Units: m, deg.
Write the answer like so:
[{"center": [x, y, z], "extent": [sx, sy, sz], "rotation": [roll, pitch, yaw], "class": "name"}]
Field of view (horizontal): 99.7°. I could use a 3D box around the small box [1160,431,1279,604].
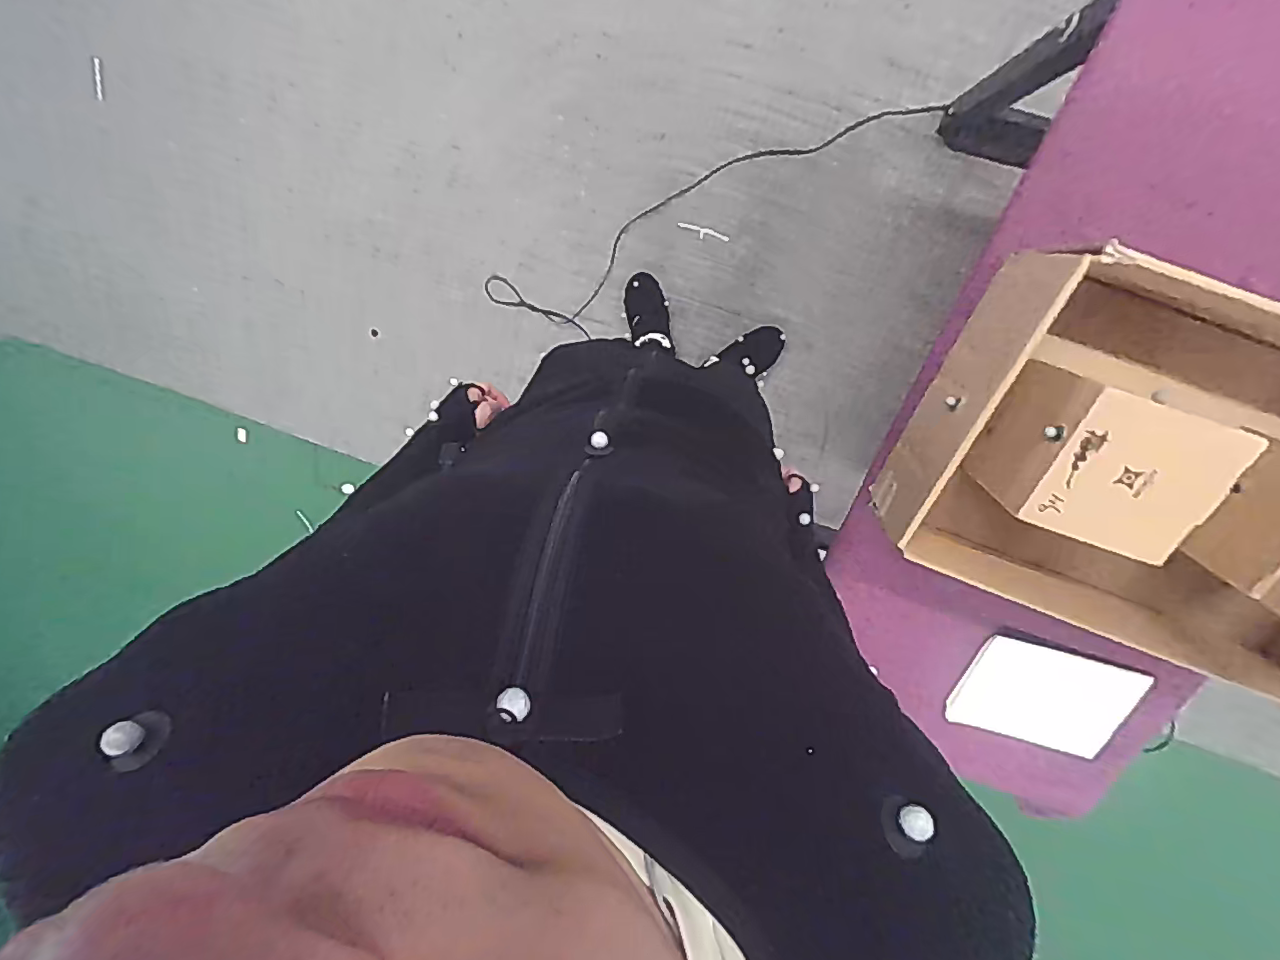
[{"center": [0.811, 0.058, 0.649], "extent": [0.179, 0.176, 0.168], "rotation": [19, 115, 4], "class": "small box"}]
